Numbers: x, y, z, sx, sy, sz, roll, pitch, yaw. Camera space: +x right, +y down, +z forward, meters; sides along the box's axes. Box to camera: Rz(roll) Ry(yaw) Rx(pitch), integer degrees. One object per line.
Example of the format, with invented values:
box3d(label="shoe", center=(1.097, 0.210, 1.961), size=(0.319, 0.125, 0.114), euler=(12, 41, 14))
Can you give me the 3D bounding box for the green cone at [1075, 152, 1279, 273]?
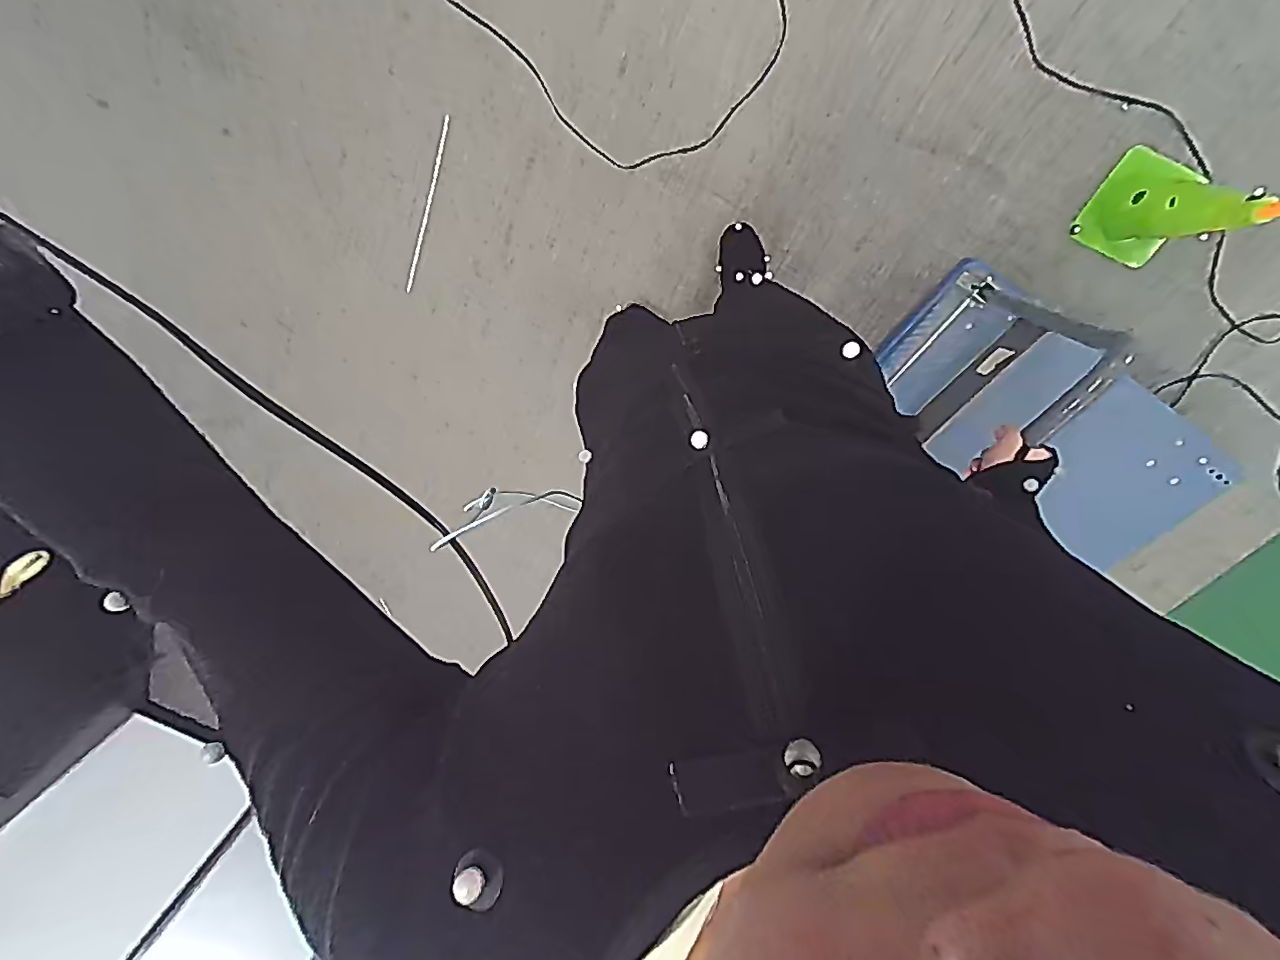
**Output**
box3d(label="green cone", center=(1.094, -0.518, 1.055), size=(0.200, 0.368, 0.202), euler=(24, 117, -2))
